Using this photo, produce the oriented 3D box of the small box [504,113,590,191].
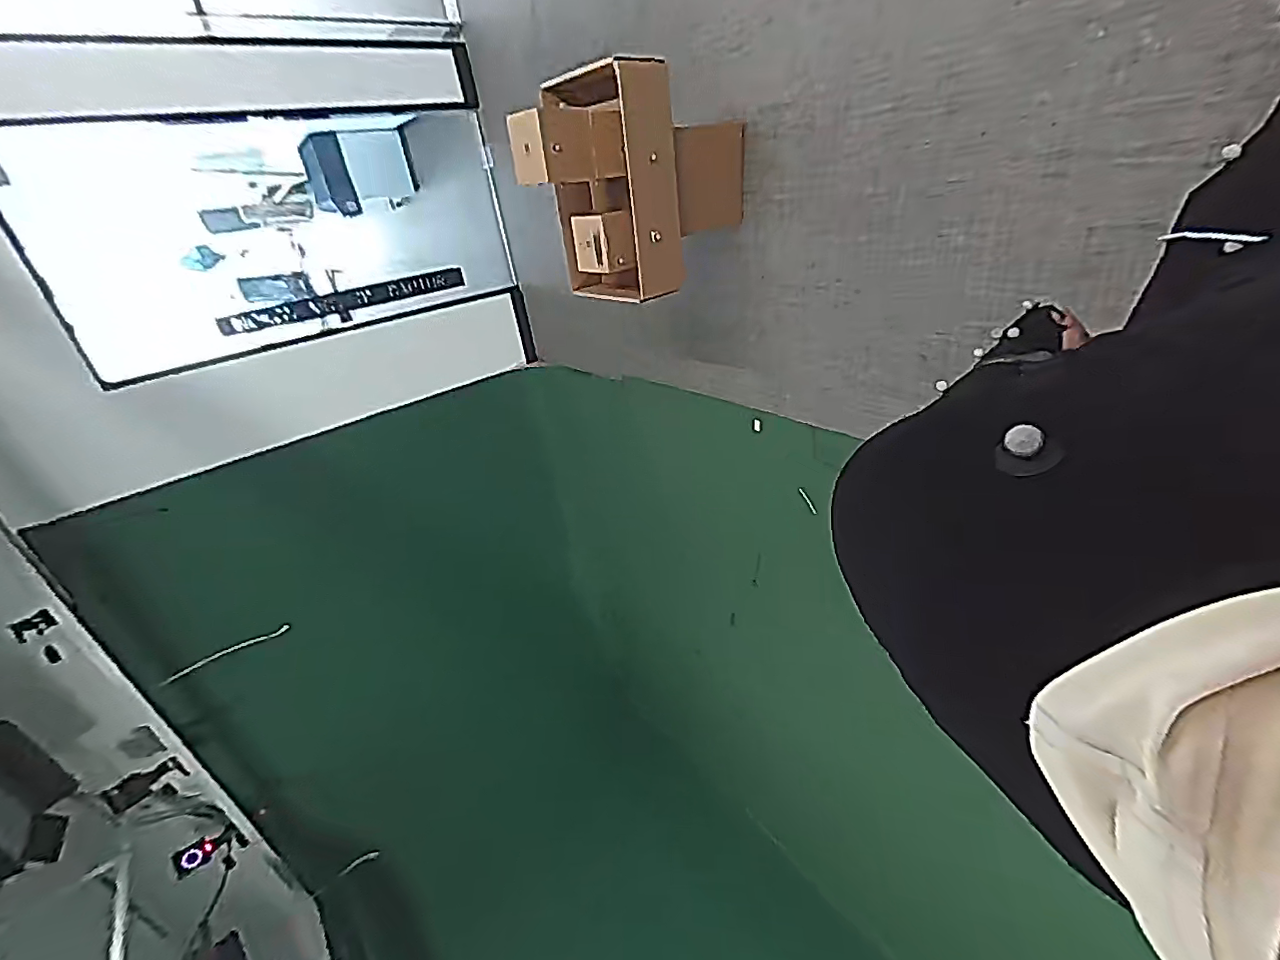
[{"bbox_3d":[-0.256,-0.922,1.522,0.168,0.176,0.179,26,132,42],"label":"small box"}]
